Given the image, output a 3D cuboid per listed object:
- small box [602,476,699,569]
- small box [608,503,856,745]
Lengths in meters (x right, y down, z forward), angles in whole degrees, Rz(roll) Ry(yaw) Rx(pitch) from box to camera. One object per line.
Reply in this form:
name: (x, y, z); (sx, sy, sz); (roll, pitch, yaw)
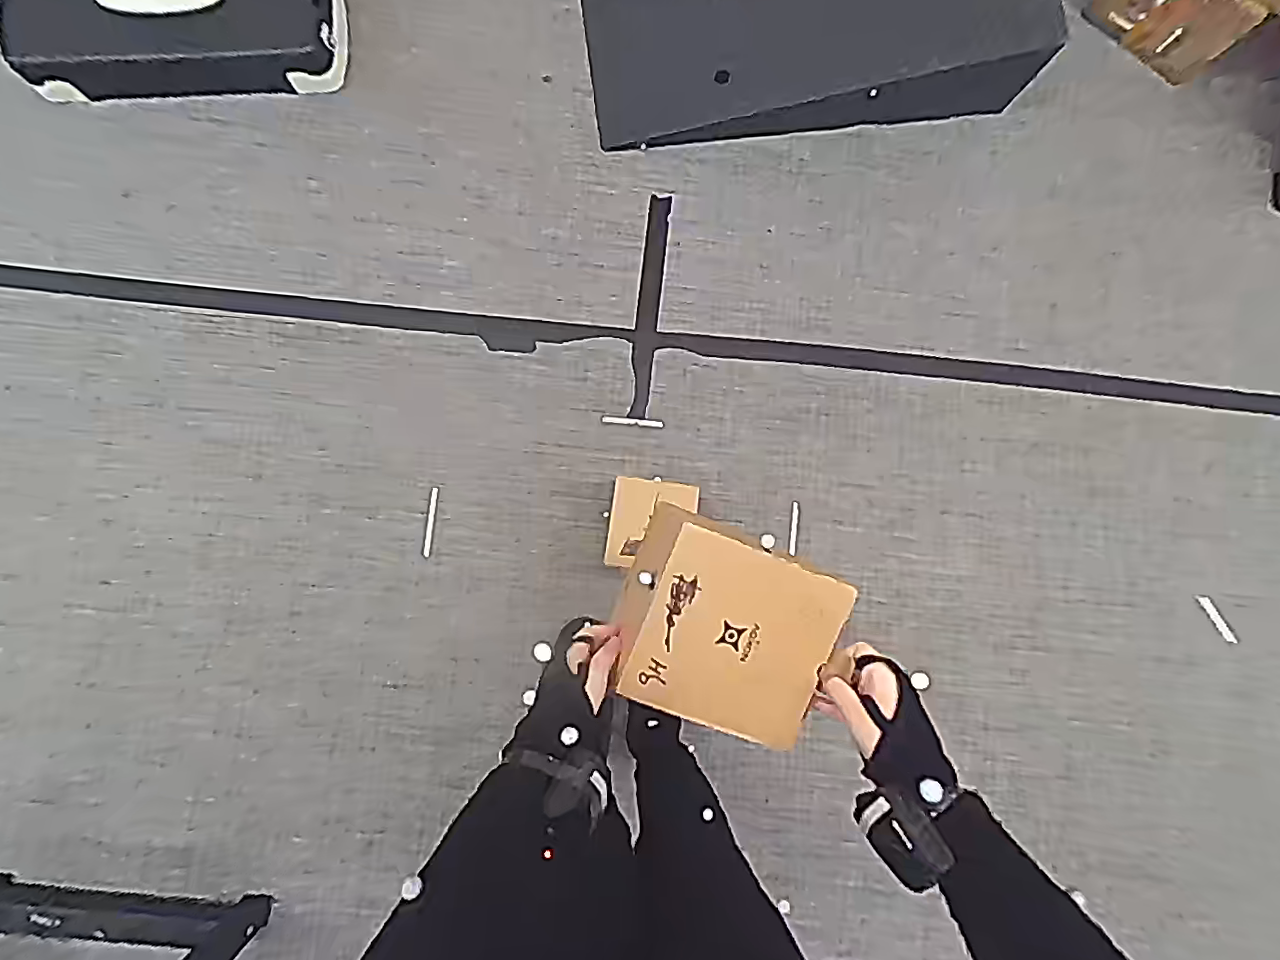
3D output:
small box: (0.018, 0.095, 1.110); (0.168, 0.176, 0.179); (9, 85, -3)
small box: (0.079, 0.131, 0.560); (0.179, 0.176, 0.168); (22, 91, -8)
